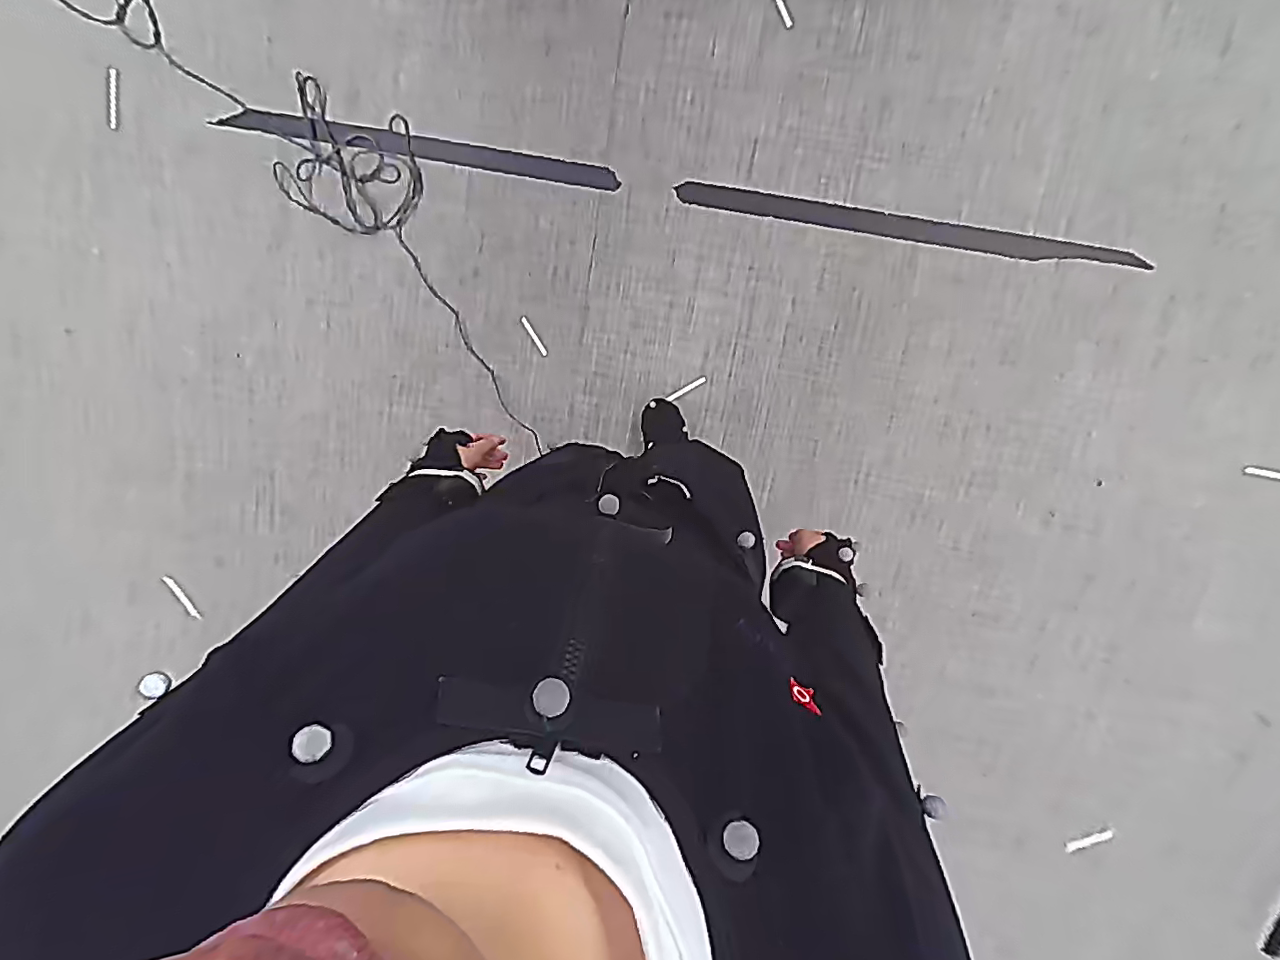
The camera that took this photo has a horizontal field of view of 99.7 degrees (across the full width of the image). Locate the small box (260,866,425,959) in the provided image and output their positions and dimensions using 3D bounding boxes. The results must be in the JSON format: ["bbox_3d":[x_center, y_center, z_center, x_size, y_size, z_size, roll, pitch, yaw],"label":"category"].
[{"bbox_3d":[-0.462,0.754,0.845,0.179,0.176,0.168,13,100,5],"label":"small box"}]
